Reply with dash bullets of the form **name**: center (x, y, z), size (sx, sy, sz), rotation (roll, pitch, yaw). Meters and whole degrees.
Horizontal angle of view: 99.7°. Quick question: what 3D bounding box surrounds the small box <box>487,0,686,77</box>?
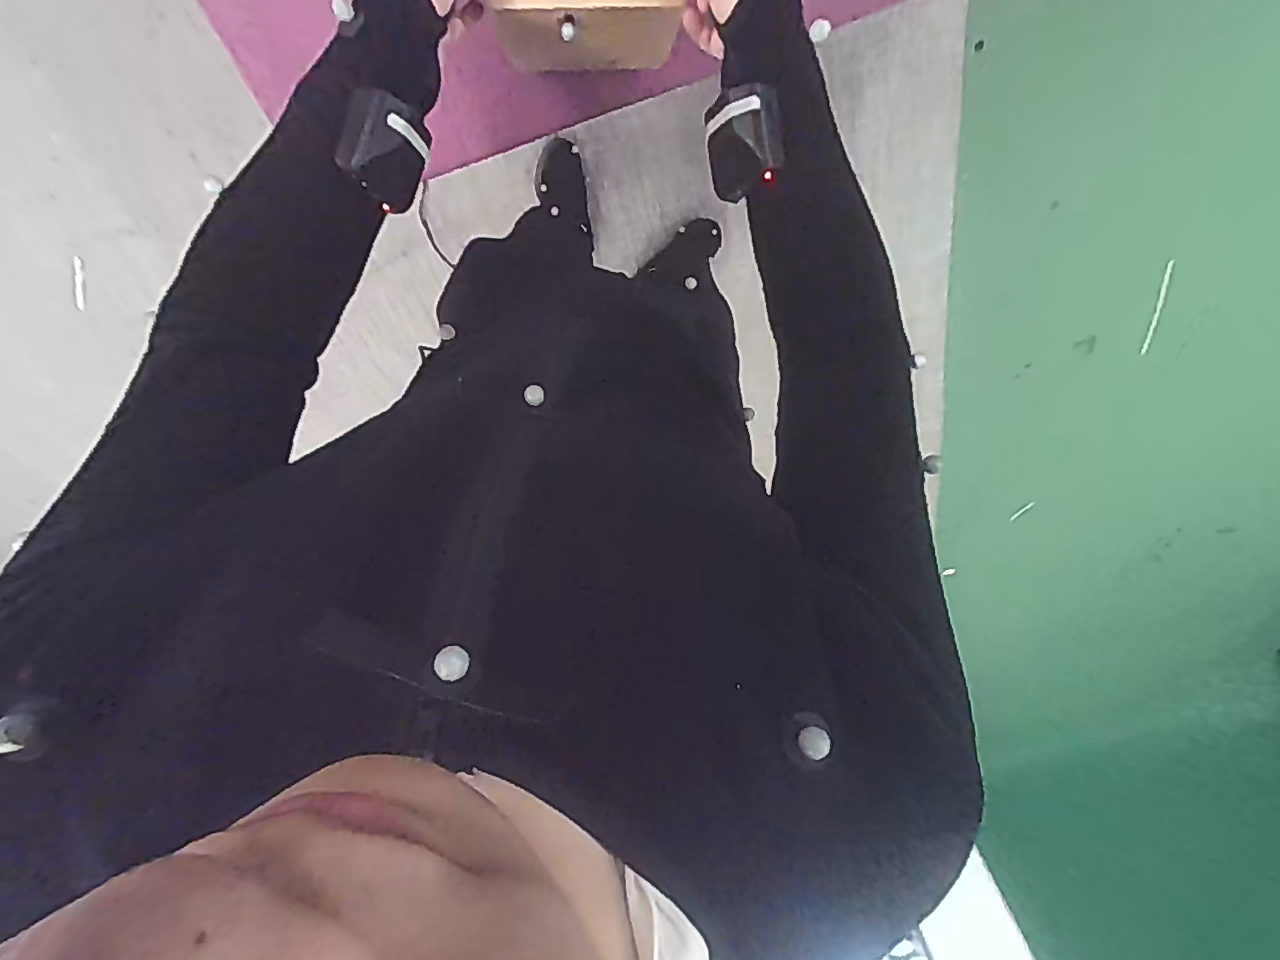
- **small box**: center (-0.050, -0.491, 0.484), size (0.168, 0.176, 0.179), rotation (-3, 114, -3)
